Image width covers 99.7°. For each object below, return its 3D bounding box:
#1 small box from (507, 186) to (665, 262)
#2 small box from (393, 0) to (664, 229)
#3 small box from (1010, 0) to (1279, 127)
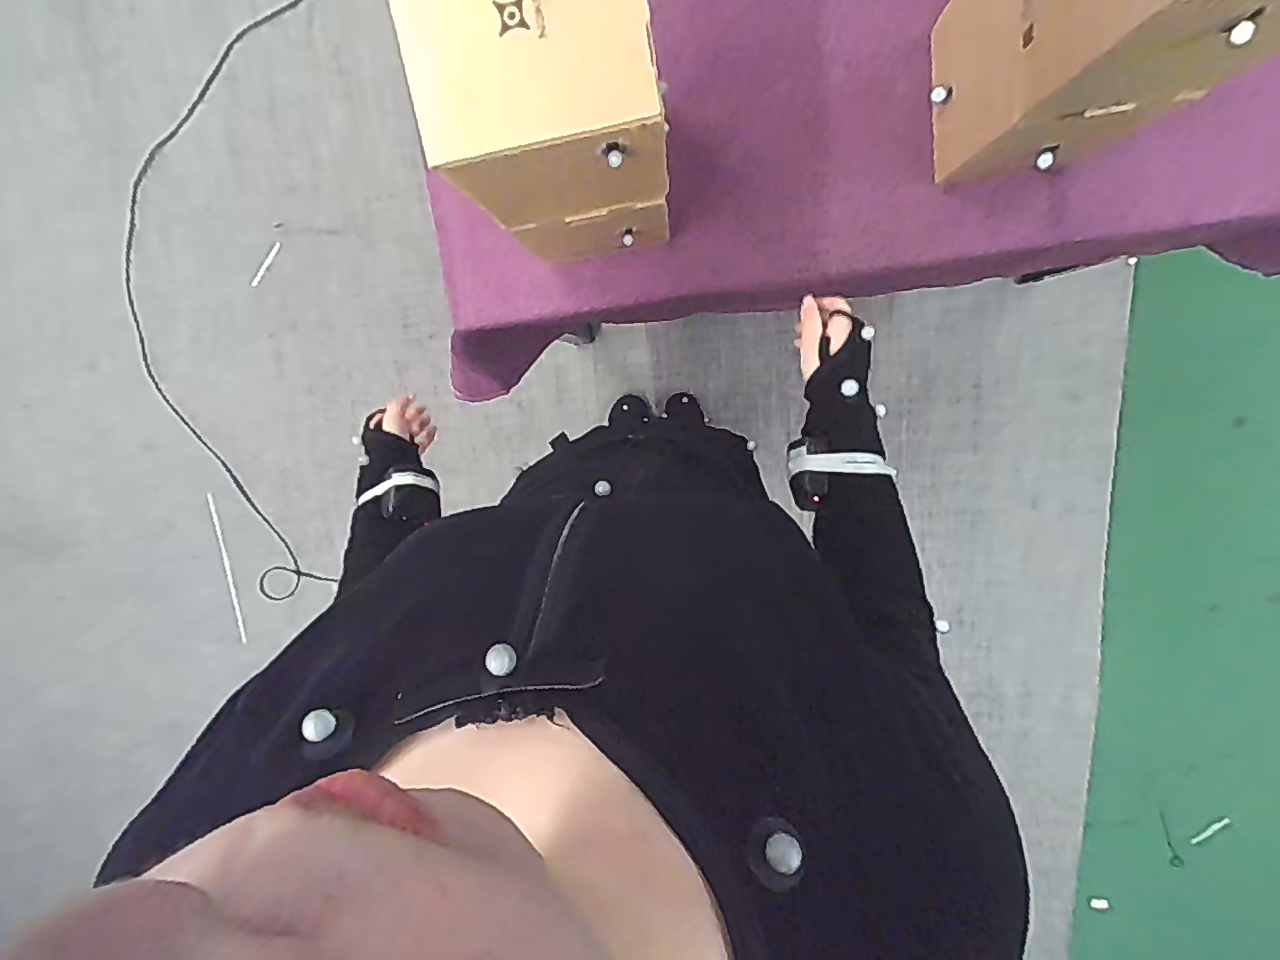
[{"bbox_3d":[-0.063,-0.359,0.614,0.168,0.176,0.179,-8,99,4],"label":"small box"},{"bbox_3d":[-0.077,-0.330,0.455,0.179,0.176,0.168,-10,100,4],"label":"small box"},{"bbox_3d":[0.411,-0.397,0.405,0.179,0.176,0.168,-6,100,5],"label":"small box"}]
